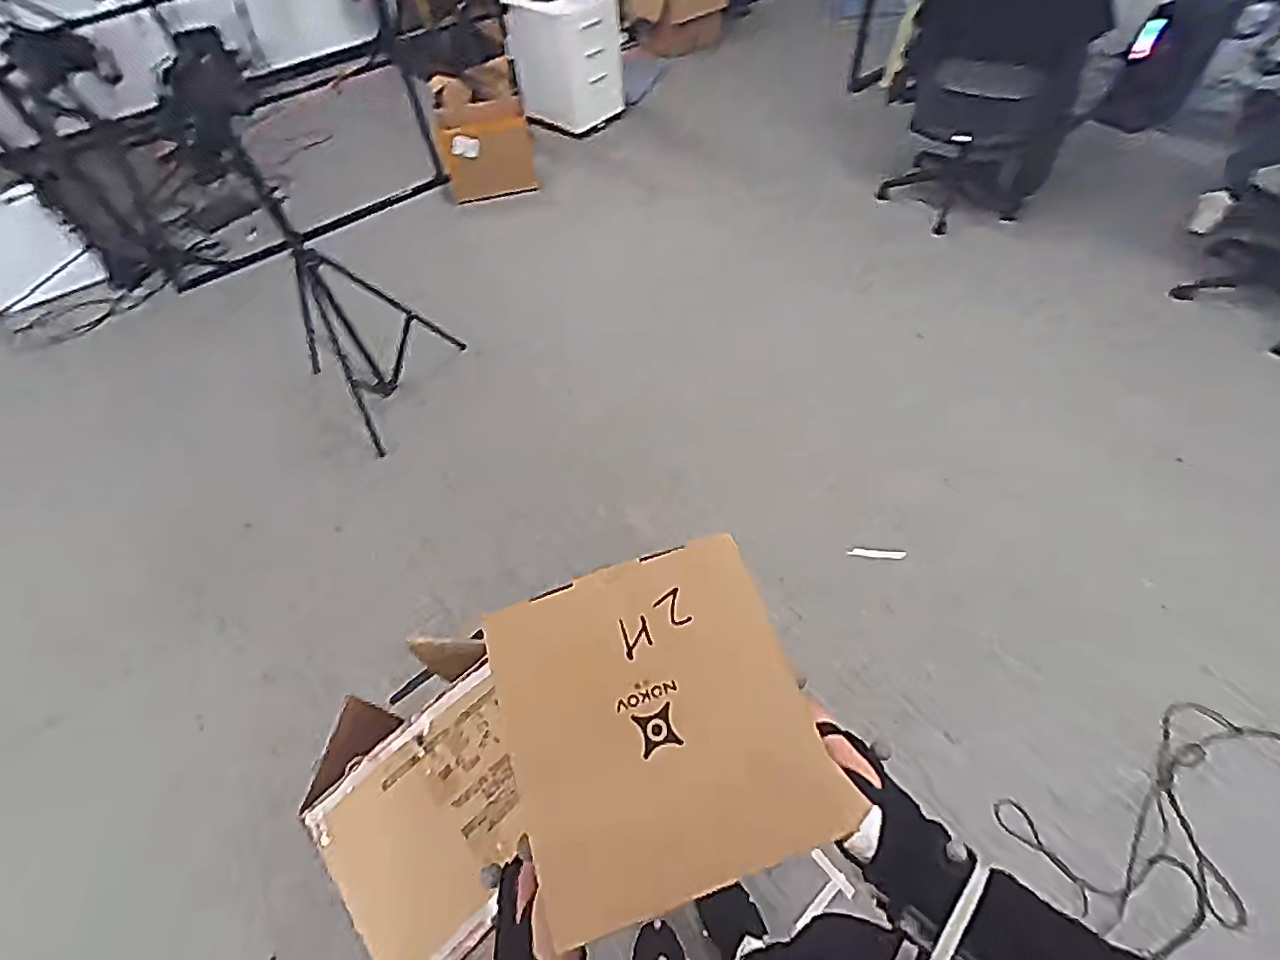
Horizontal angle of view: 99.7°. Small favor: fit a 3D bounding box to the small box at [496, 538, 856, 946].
[{"bbox_3d":[0.017,0.167,0.381,0.168,0.176,0.179,-18,65,-5],"label":"small box"}]
